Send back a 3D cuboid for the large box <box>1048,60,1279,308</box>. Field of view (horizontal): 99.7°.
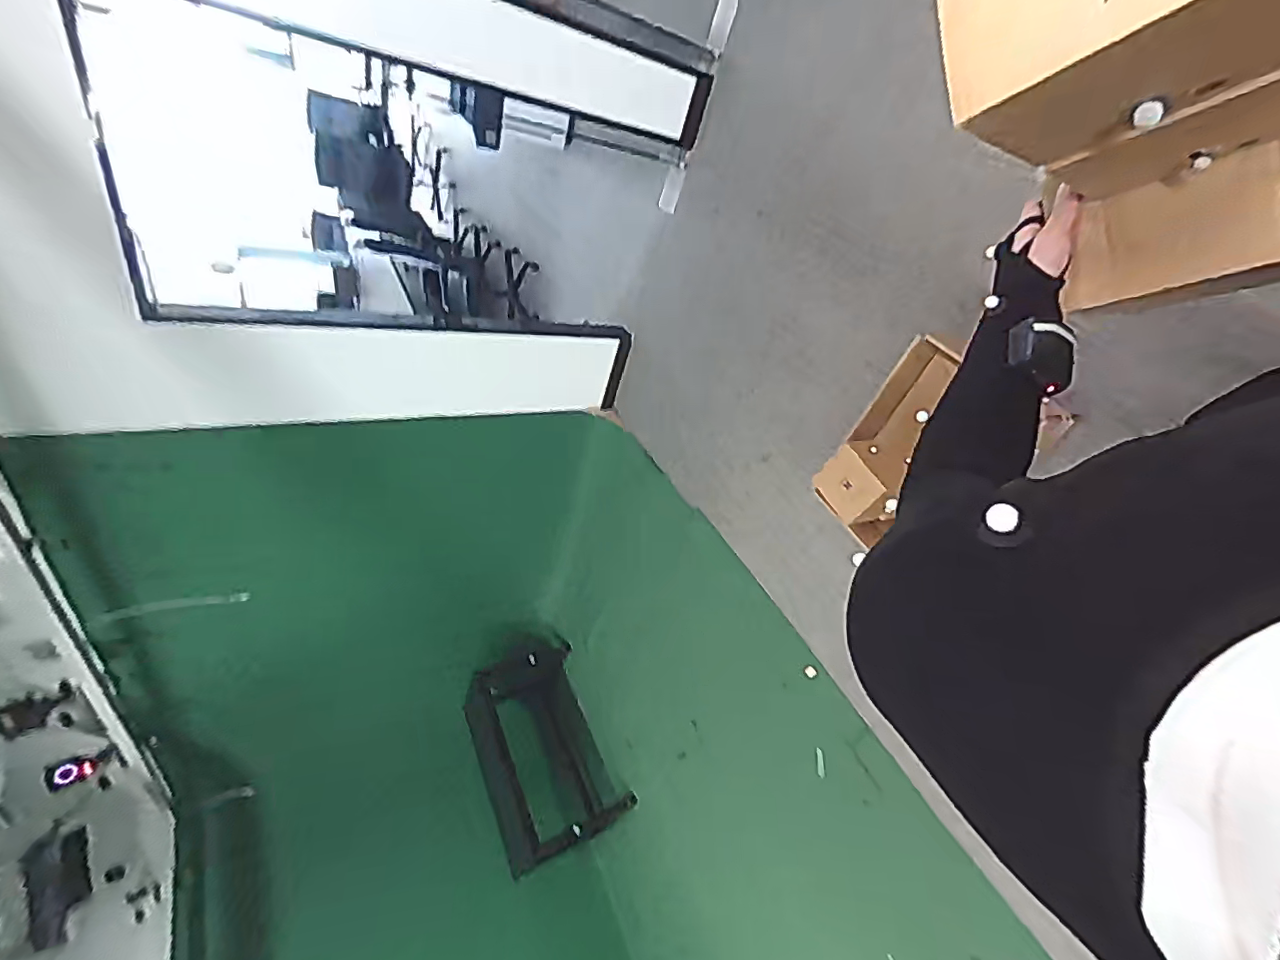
[{"bbox_3d":[0.674,-0.379,0.514,0.408,0.320,0.320,-5,97,52],"label":"large box"}]

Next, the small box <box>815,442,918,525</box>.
[{"bbox_3d":[0.653,0.008,1.558,0.179,0.176,0.168,61,138,29],"label":"small box"}]

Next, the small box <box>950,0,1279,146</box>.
[{"bbox_3d":[0.305,-0.339,0.324,0.168,0.176,0.179,-2,99,53],"label":"small box"}]

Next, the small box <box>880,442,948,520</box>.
[{"bbox_3d":[0.787,0.000,1.650,0.179,0.176,0.168,57,135,32],"label":"small box"}]
